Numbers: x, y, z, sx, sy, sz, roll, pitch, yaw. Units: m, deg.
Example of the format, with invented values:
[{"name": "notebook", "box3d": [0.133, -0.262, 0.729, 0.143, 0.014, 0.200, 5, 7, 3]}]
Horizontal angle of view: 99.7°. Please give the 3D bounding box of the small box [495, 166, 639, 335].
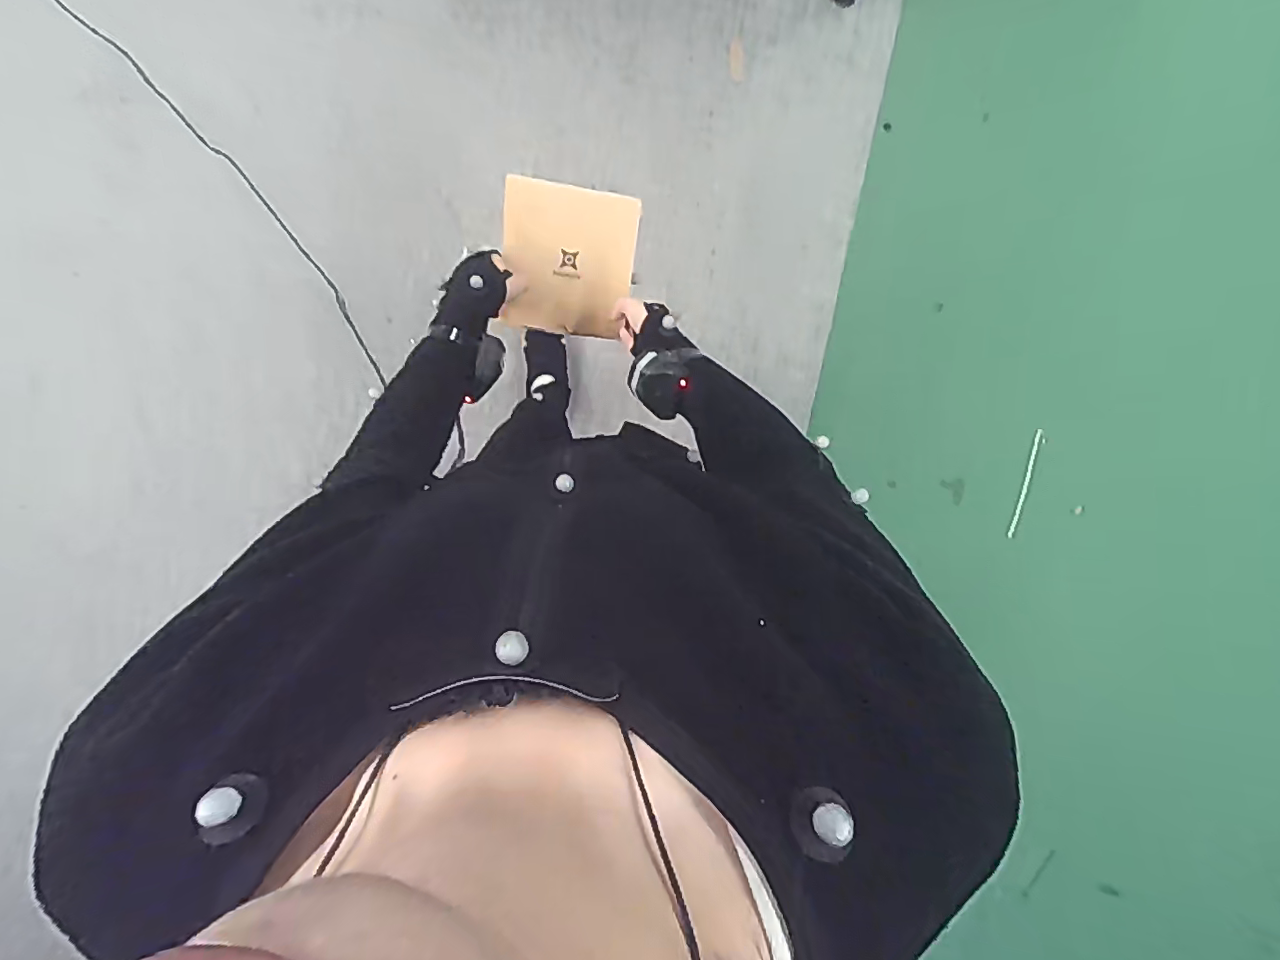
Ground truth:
[{"name": "small box", "box3d": [-0.107, -0.311, 0.741, 0.168, 0.176, 0.179, 4, 115, -12]}]
